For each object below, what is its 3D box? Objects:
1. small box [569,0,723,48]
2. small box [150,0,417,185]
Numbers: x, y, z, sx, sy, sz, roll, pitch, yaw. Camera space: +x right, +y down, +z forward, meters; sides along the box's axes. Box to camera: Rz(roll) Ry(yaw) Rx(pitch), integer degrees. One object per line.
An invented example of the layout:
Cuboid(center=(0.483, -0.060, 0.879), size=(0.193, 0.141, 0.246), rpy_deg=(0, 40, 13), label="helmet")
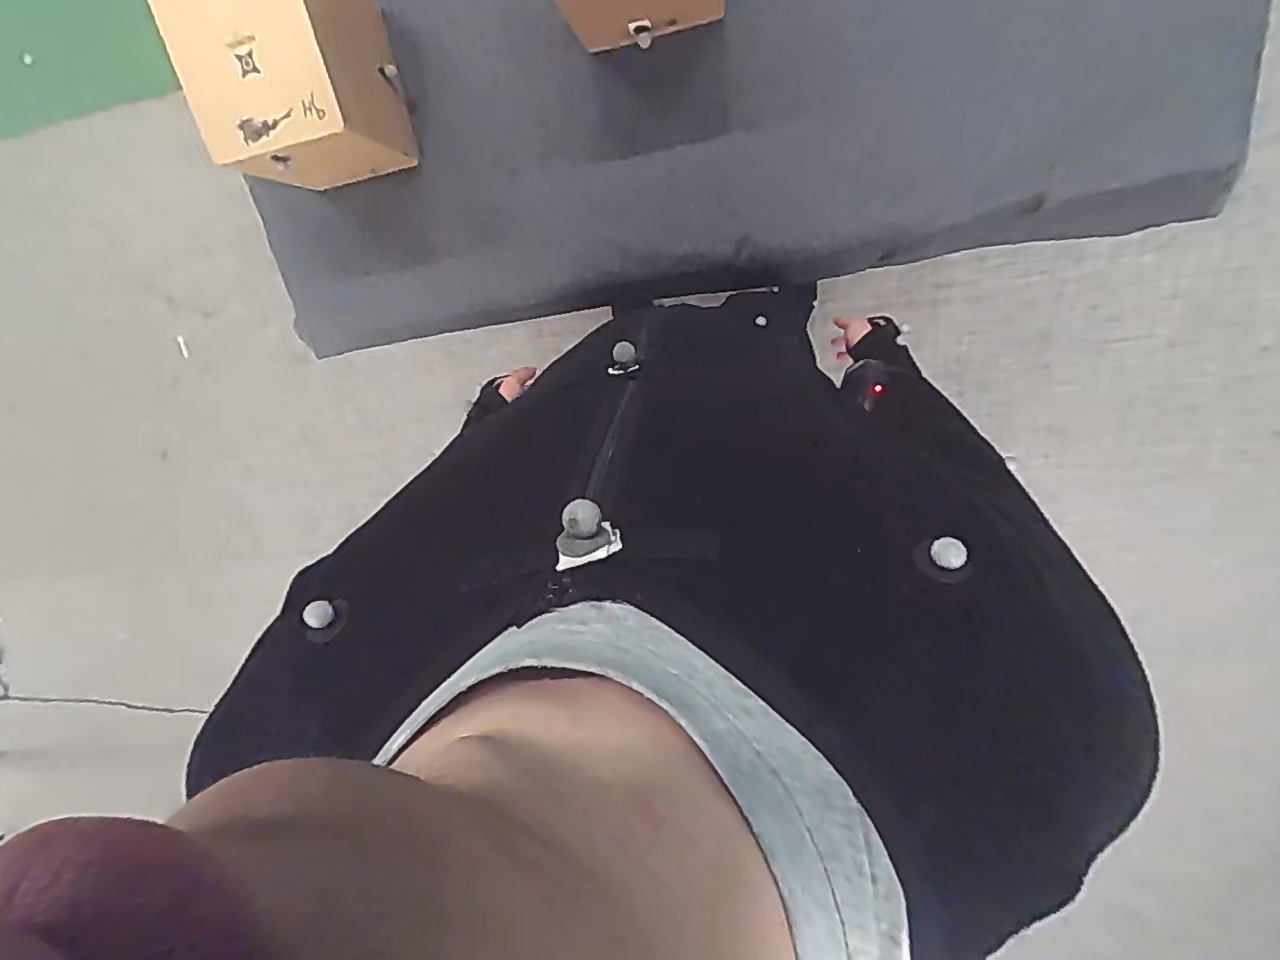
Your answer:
Cuboid(center=(-0.008, -0.575, 0.531), size=(0.168, 0.176, 0.179), rpy_deg=(-8, 111, 12), label="small box")
Cuboid(center=(-0.390, -0.463, 0.620), size=(0.168, 0.176, 0.179), rpy_deg=(-8, 109, 11), label="small box")
